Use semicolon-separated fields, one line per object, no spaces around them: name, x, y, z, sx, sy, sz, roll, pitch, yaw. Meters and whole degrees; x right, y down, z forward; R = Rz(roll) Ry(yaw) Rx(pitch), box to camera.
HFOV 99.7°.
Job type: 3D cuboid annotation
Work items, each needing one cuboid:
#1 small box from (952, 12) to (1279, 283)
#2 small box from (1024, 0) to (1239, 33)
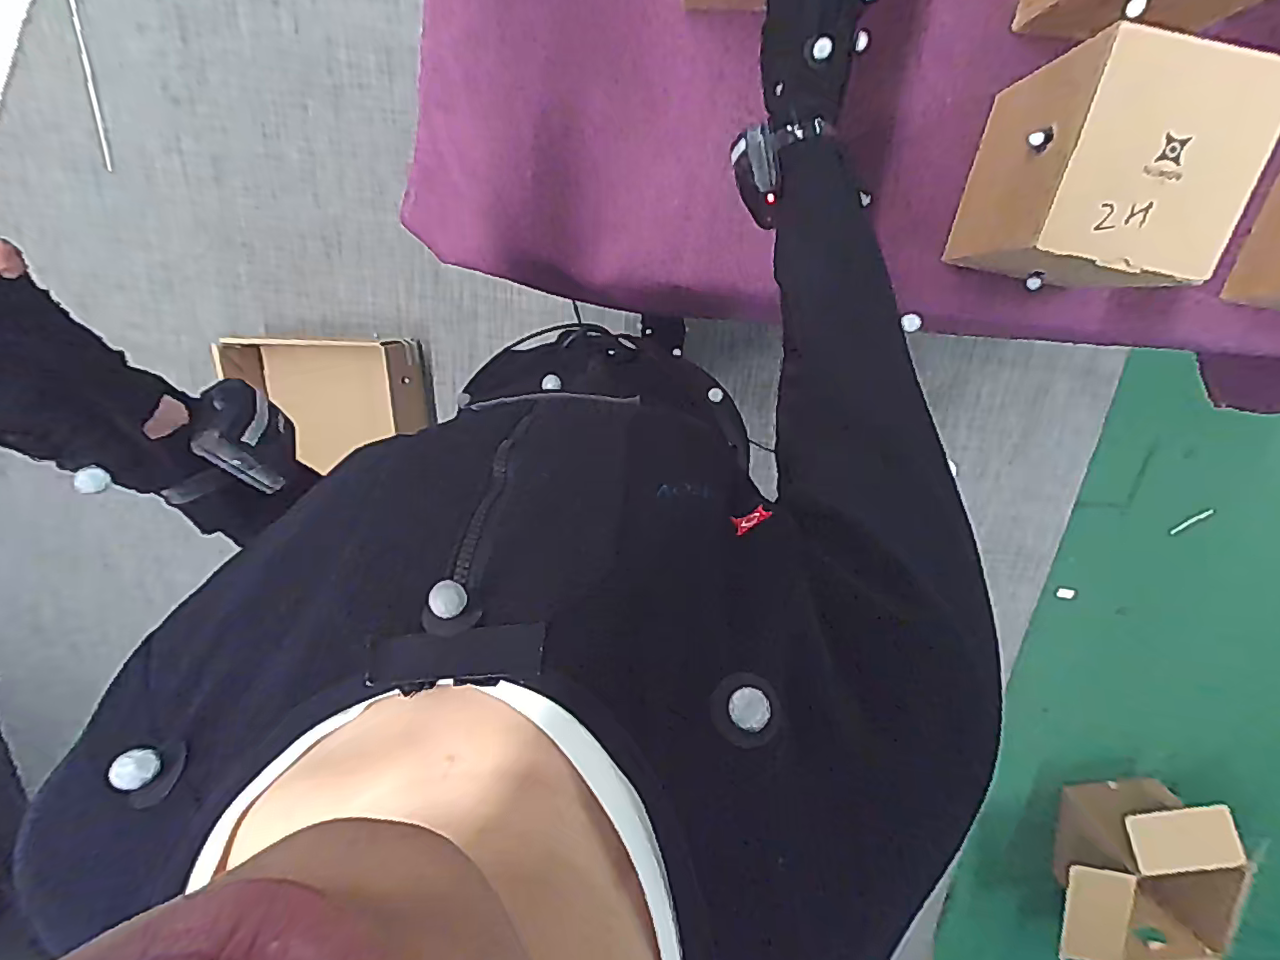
small box;0.450;-0.303;0.535;0.168;0.176;0.179;10;109;-2
small box;0.475;-0.518;0.463;0.168;0.176;0.179;5;109;-1
